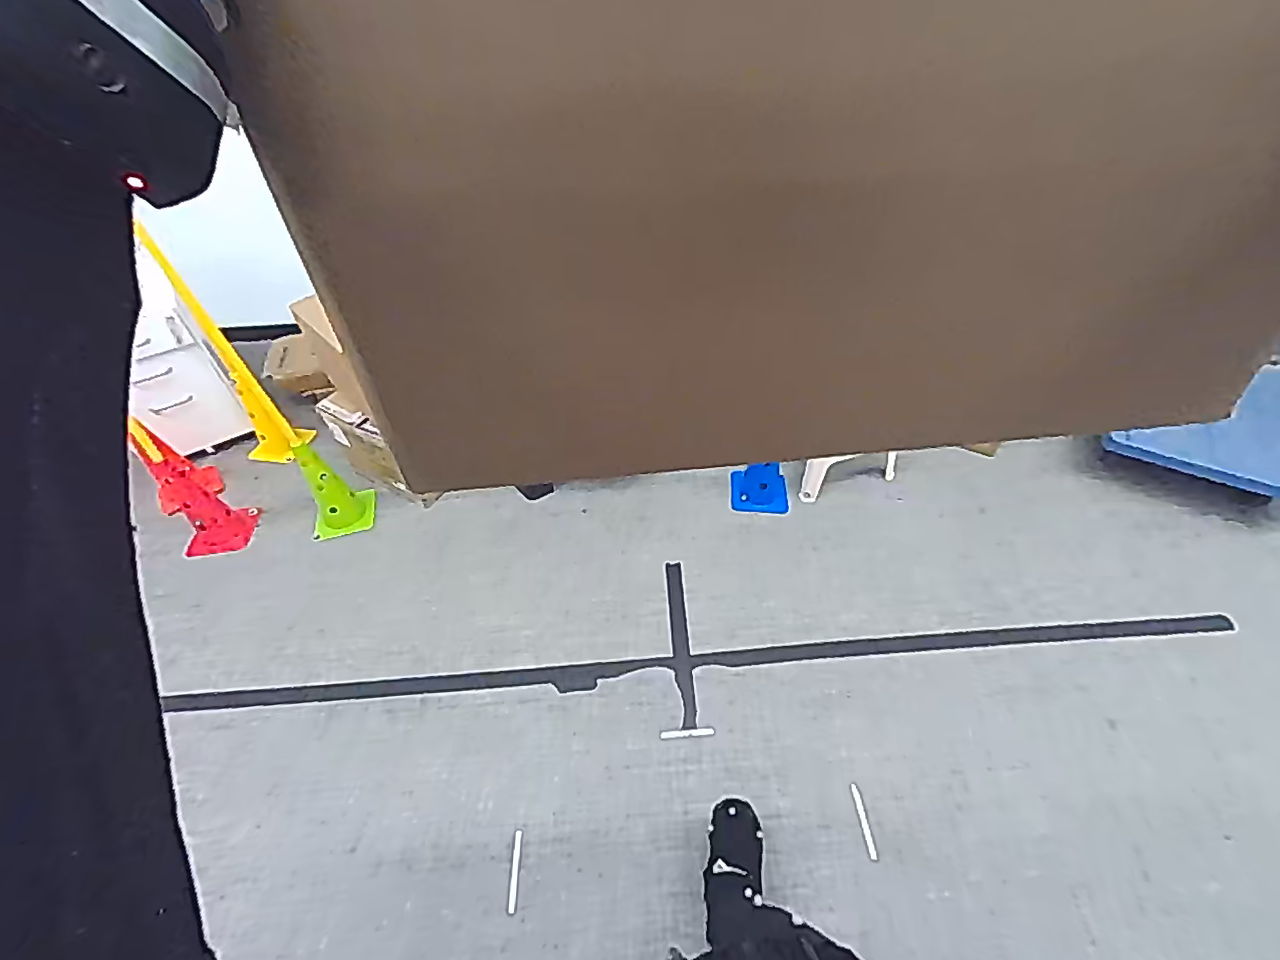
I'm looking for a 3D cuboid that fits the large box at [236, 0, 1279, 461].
[{"bbox_3d":[0.062,-0.233,0.301,0.408,0.320,0.320,-5,38,0],"label":"large box"}]
